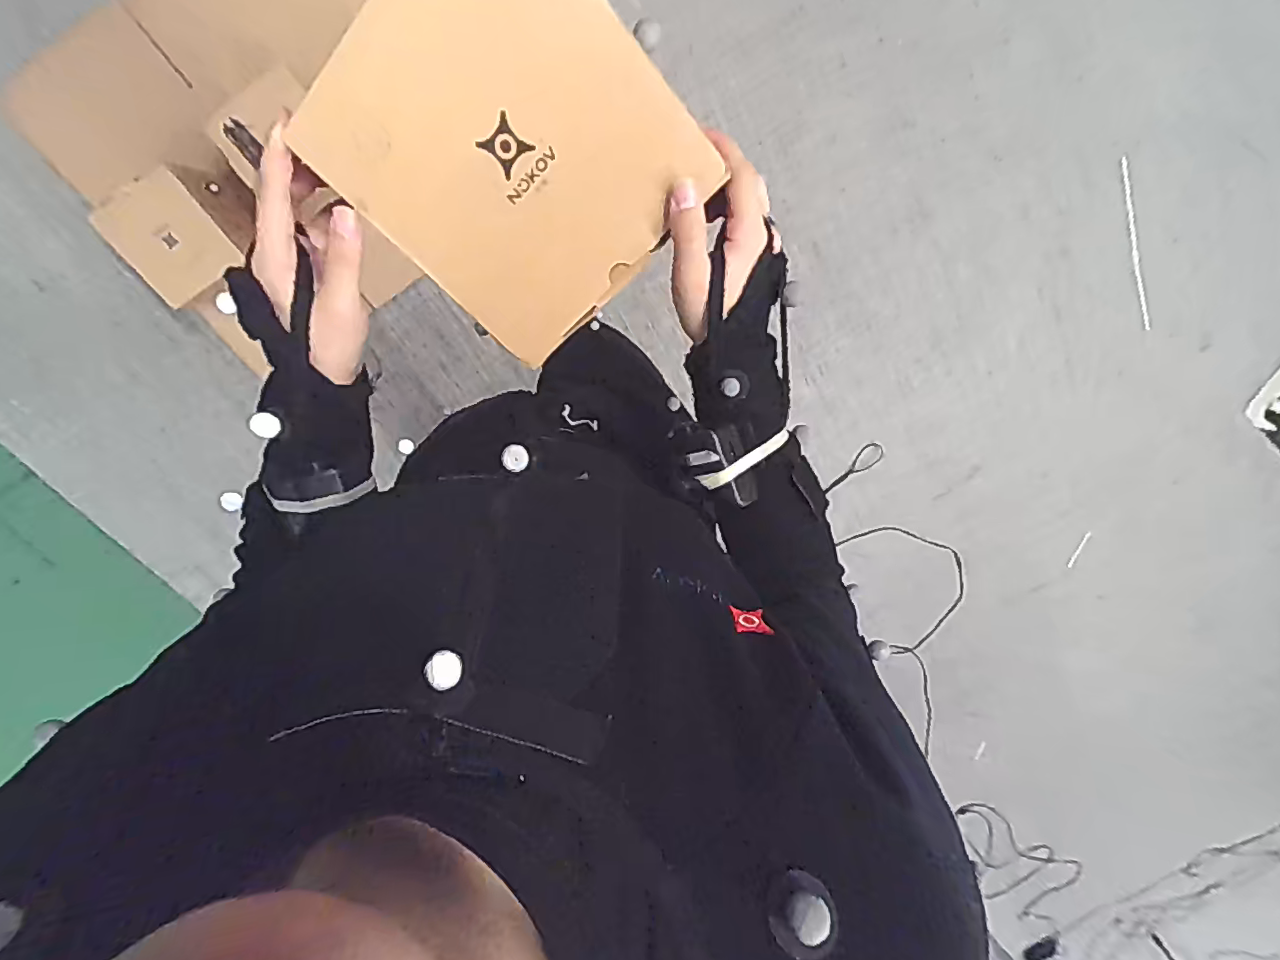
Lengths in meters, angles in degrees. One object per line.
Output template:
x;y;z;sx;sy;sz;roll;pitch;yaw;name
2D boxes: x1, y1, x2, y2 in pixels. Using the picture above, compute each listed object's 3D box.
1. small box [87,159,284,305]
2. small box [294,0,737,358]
-0.807;-0.443;0.984;0.168;0.176;0.179;-32;115;5;small box
-0.066;-0.216;0.355;0.168;0.176;0.179;-39;115;19;small box
